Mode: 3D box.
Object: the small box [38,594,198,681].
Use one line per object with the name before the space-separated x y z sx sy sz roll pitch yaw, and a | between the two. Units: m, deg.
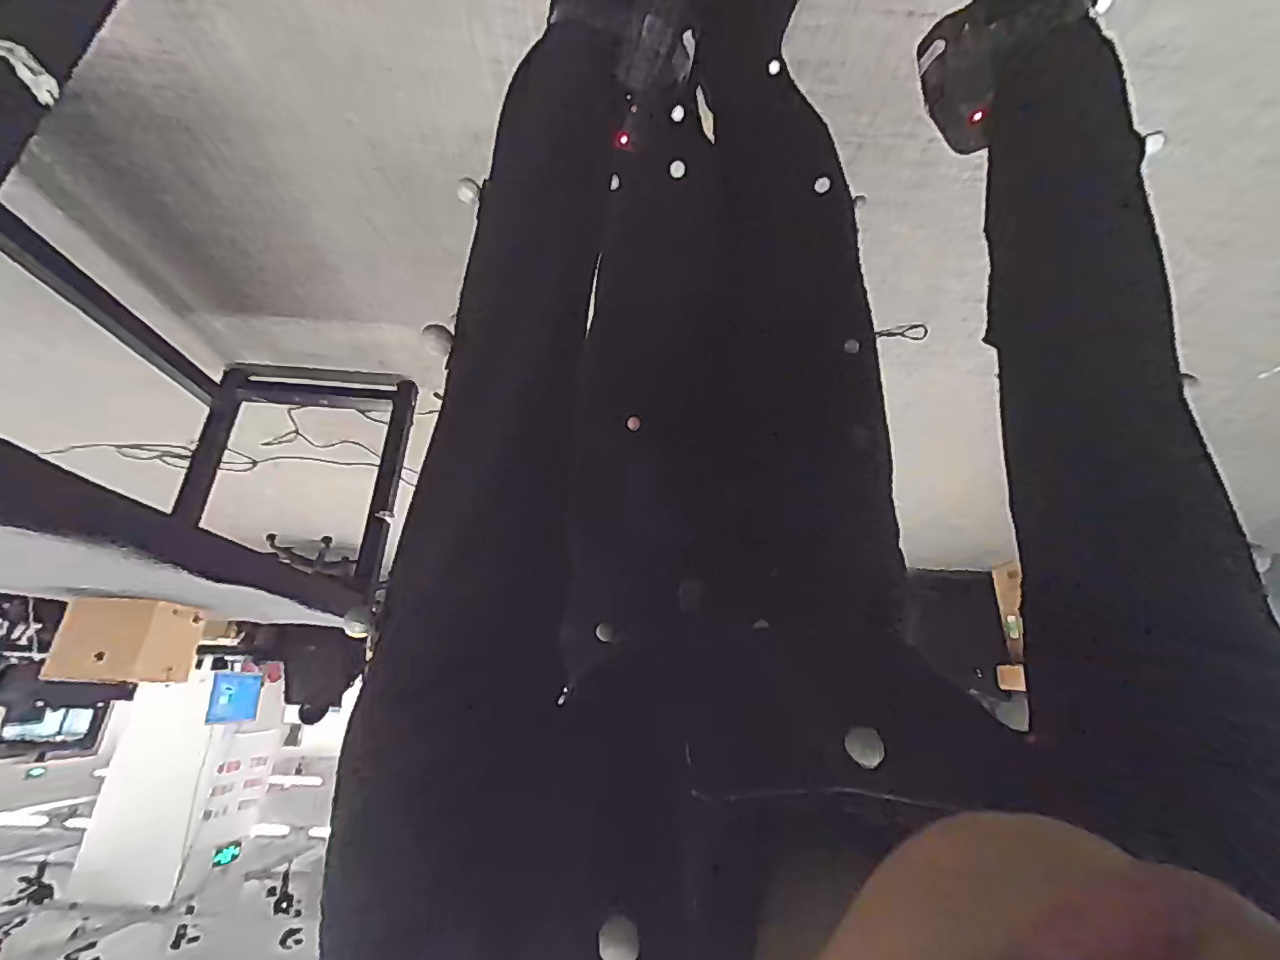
small box | -1.109 0.344 1.173 0.179 0.176 0.168 4 159 -3
